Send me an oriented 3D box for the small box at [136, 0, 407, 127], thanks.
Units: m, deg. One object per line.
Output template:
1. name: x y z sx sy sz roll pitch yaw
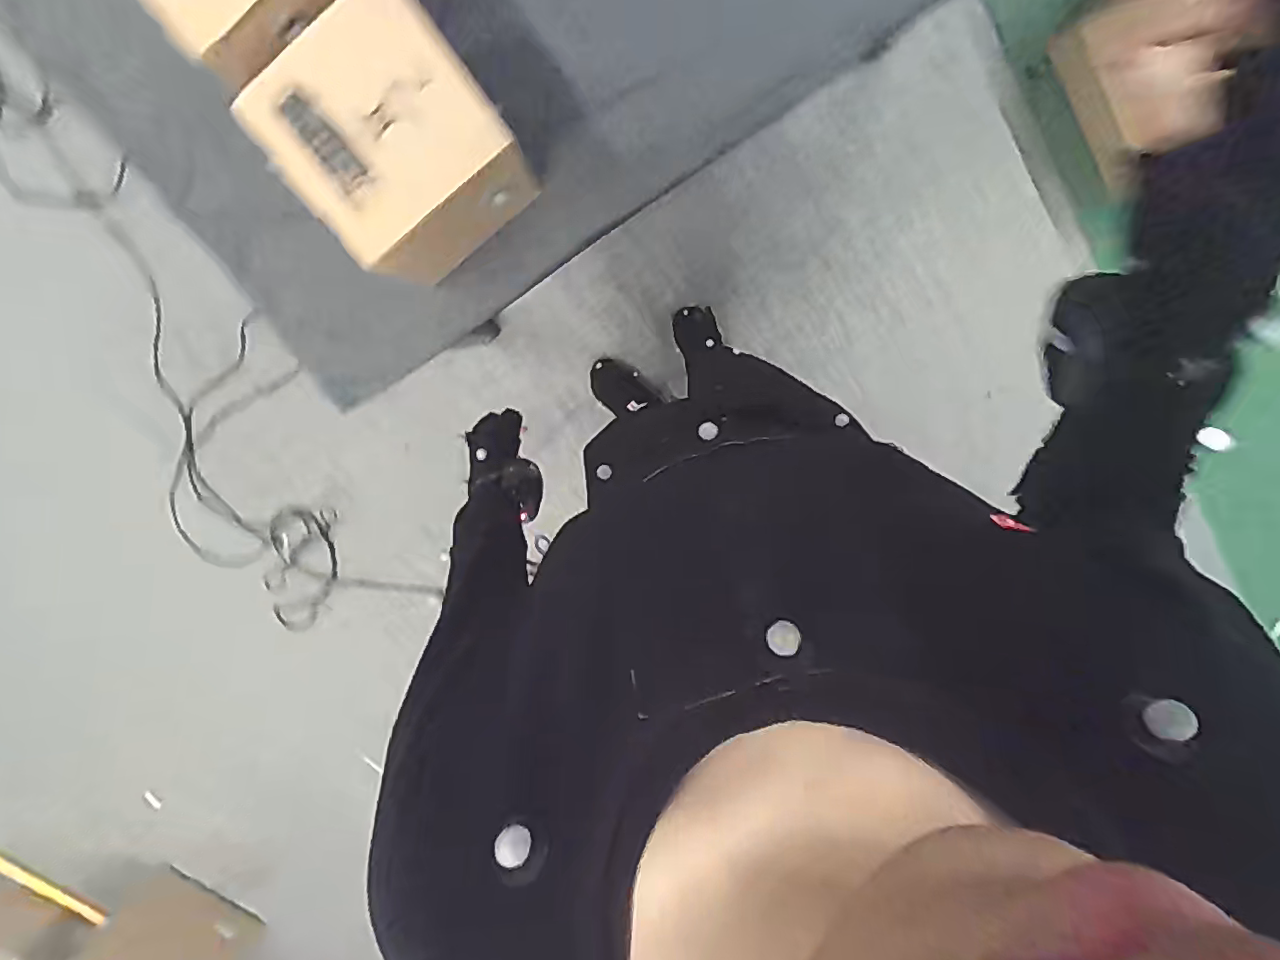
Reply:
1. small box: -0.356 -0.477 0.501 0.179 0.176 0.168 -38 104 7
